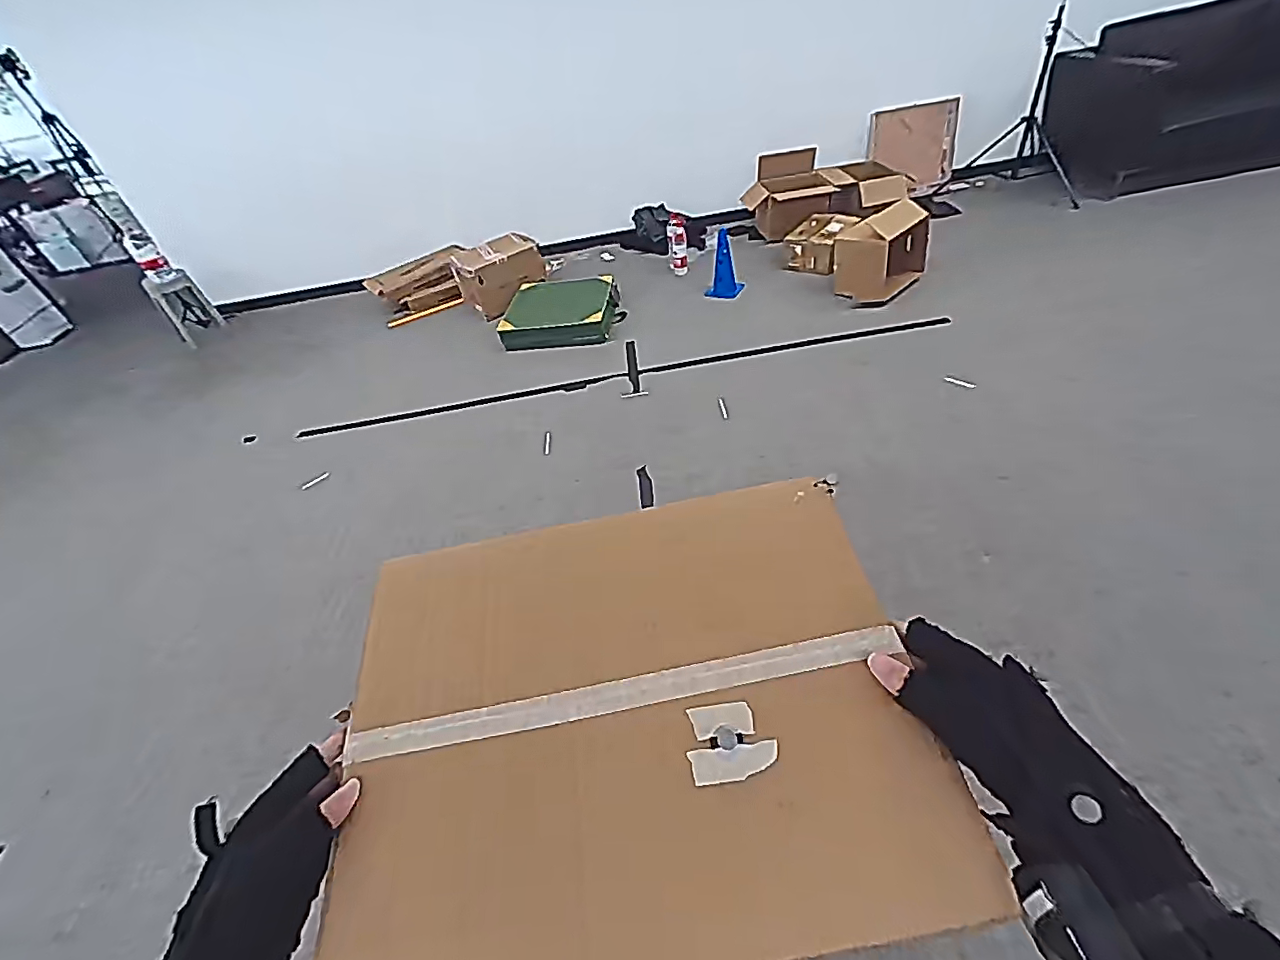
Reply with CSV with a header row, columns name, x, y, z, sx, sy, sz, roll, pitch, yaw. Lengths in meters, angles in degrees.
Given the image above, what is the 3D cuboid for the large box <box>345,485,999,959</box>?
name,x,y,z,sx,sy,sz,roll,pitch,yaw
large box,0.011,0.252,0.521,0.408,0.320,0.320,-11,53,0
